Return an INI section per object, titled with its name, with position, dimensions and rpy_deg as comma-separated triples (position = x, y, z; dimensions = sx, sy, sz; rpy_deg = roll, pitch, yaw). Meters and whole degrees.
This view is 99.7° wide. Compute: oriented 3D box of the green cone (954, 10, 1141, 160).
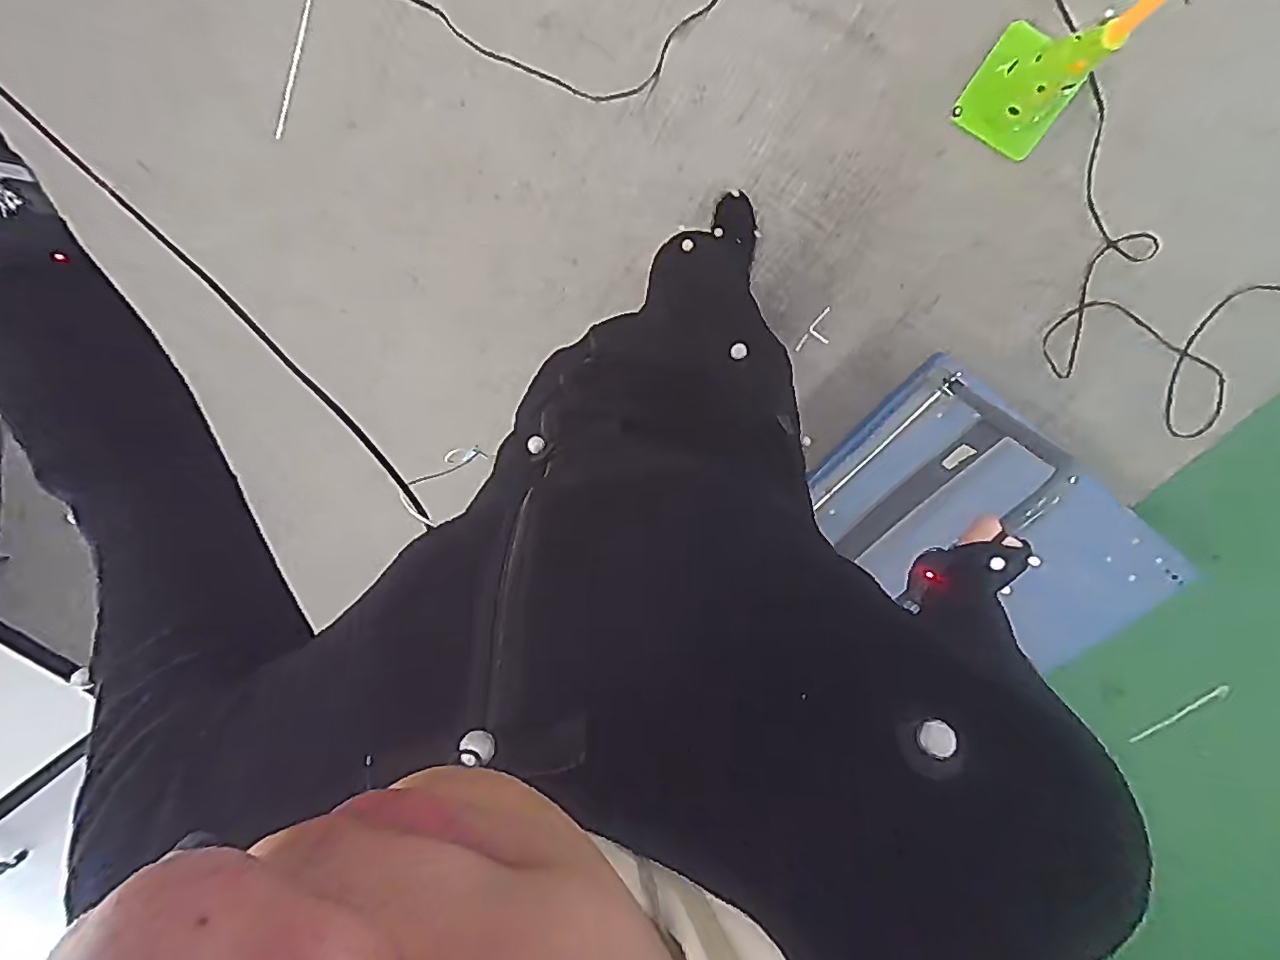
[green cone]
position = 0.783, -0.763, 0.999
dimensions = 0.200, 0.368, 0.202
rpy_deg = 30, 114, -3
